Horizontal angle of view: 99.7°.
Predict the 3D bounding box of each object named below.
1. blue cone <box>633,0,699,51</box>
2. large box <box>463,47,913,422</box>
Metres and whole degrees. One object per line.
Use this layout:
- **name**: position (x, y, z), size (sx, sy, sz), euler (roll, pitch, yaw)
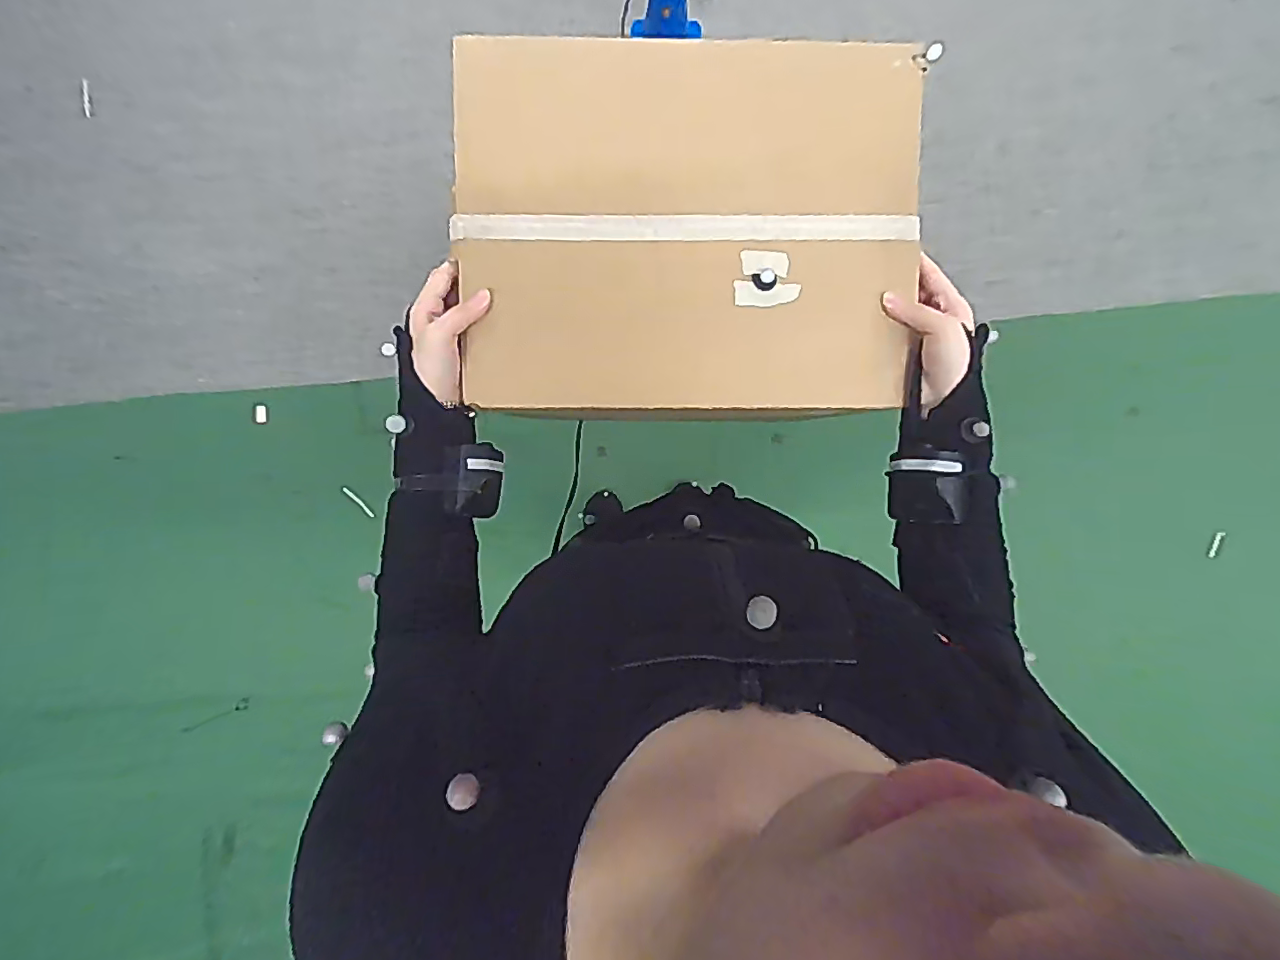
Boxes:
- **blue cone**: position (0.069, -1.189, 1.371), size (0.193, 0.380, 0.192), euler (4, 90, 1)
- **large box**: position (0.039, -0.233, 0.631), size (0.408, 0.320, 0.320), euler (0, 94, -2)
